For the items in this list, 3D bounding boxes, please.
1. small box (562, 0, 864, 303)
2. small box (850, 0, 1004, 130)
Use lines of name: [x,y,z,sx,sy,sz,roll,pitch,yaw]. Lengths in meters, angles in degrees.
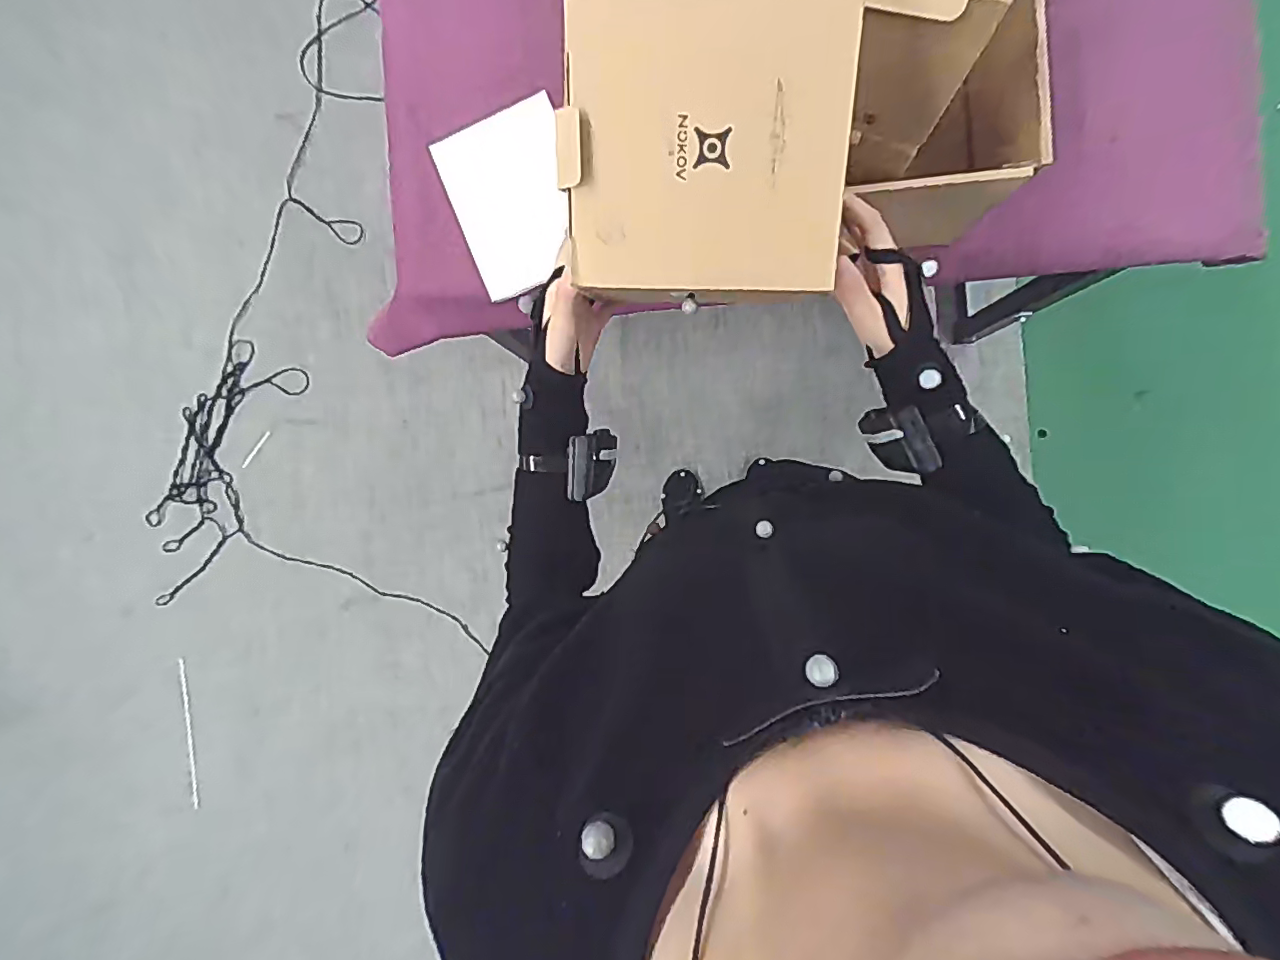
small box: [0.045,-0.225,0.409,0.179,0.176,0.168,3,106,4]
small box: [0.230,-0.453,0.473,0.168,0.176,0.179,18,91,7]
